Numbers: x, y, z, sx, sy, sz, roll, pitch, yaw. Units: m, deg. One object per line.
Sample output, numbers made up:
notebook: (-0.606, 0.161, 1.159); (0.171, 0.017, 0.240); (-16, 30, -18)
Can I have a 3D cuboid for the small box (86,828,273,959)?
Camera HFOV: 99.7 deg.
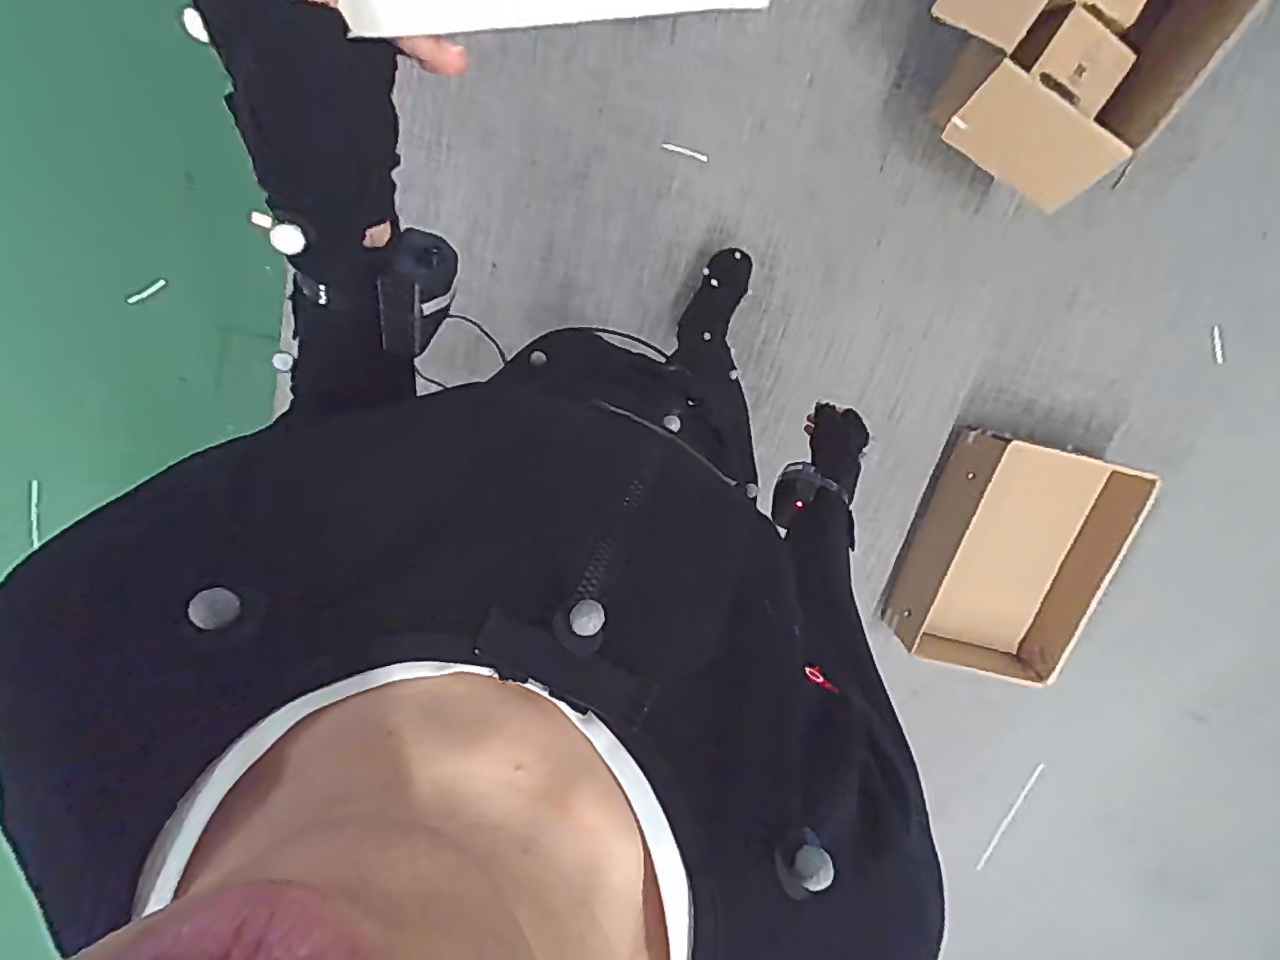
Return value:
small box: (-0.747, 0.722, 0.888); (0.168, 0.176, 0.179); (23, 106, -6)
